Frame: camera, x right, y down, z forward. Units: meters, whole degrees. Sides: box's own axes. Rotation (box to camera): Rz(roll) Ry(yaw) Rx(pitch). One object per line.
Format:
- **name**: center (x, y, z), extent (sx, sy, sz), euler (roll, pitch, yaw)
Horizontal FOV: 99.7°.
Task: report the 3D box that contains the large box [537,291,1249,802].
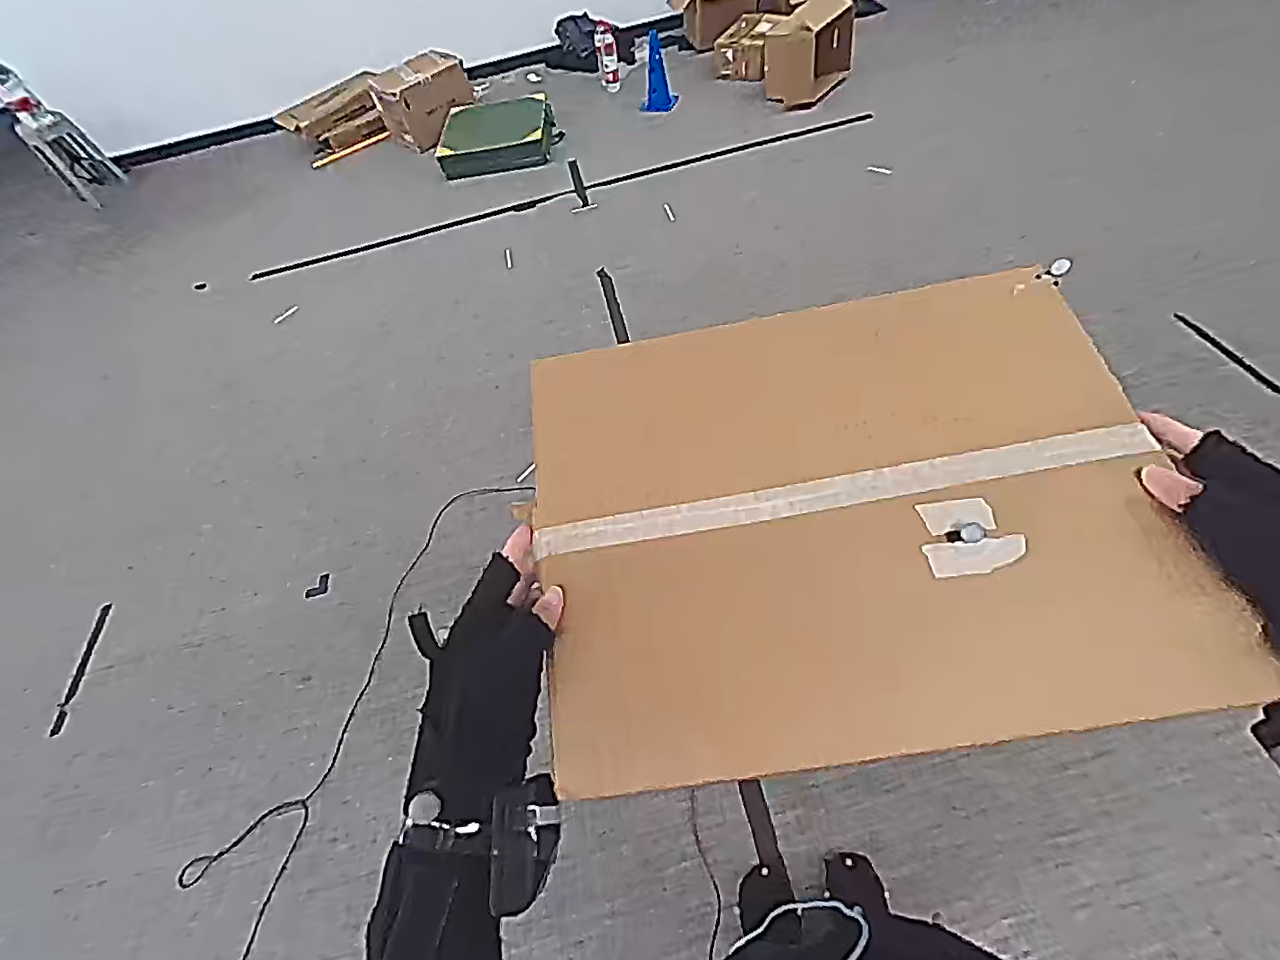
- **large box**: center (0.146, 0.081, 0.510), extent (0.408, 0.320, 0.320), euler (-10, 65, 2)
